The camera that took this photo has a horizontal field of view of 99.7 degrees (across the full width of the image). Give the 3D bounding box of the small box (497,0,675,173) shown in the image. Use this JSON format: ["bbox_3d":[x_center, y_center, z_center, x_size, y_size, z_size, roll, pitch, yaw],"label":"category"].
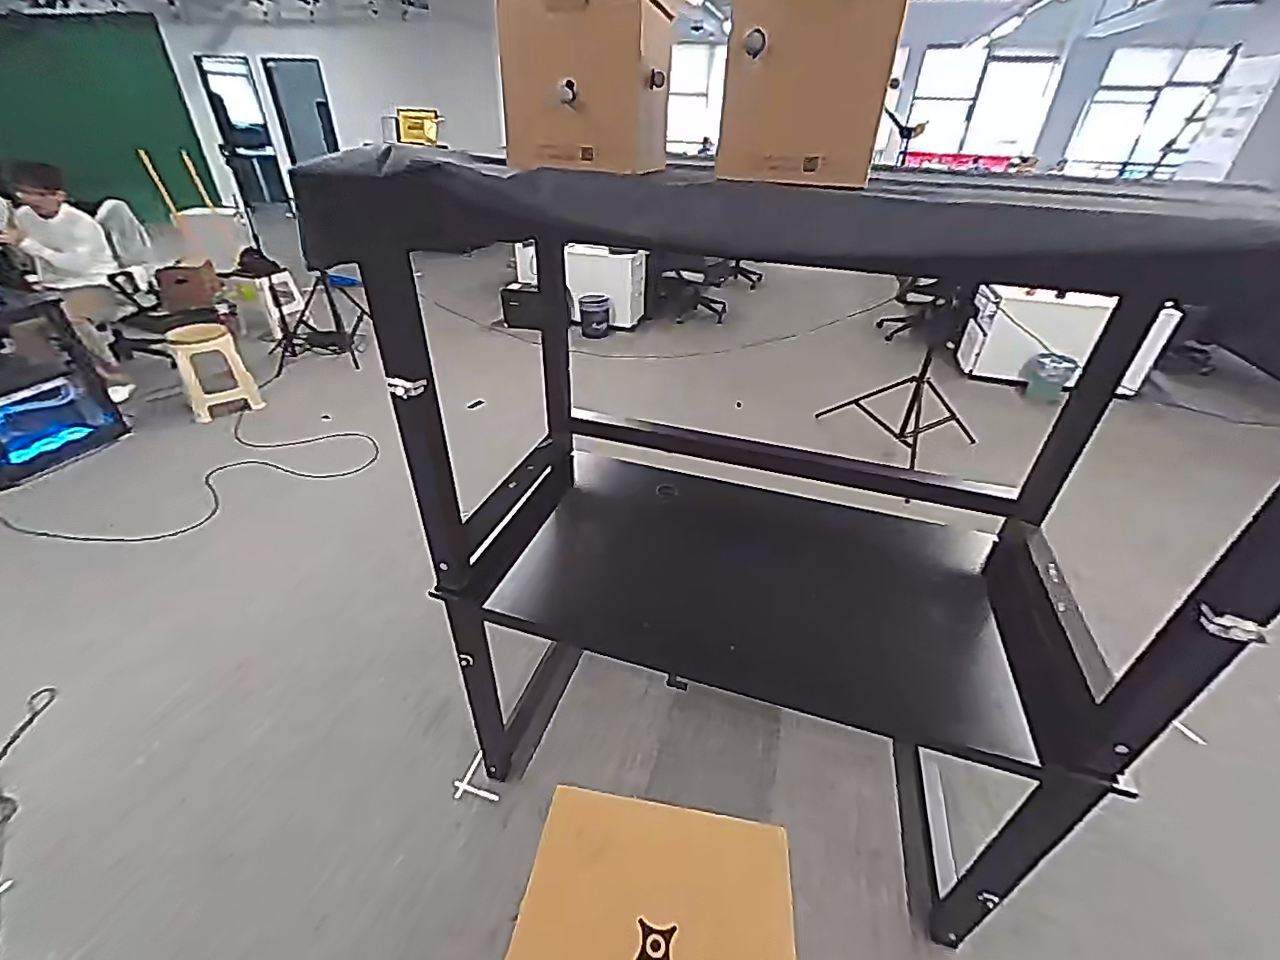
[{"bbox_3d":[-0.056,-0.483,0.669,0.168,0.176,0.179,10,34,10],"label":"small box"}]

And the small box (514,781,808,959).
[{"bbox_3d":[0.007,0.335,0.341,0.168,0.176,0.179,7,29,5],"label":"small box"}]
